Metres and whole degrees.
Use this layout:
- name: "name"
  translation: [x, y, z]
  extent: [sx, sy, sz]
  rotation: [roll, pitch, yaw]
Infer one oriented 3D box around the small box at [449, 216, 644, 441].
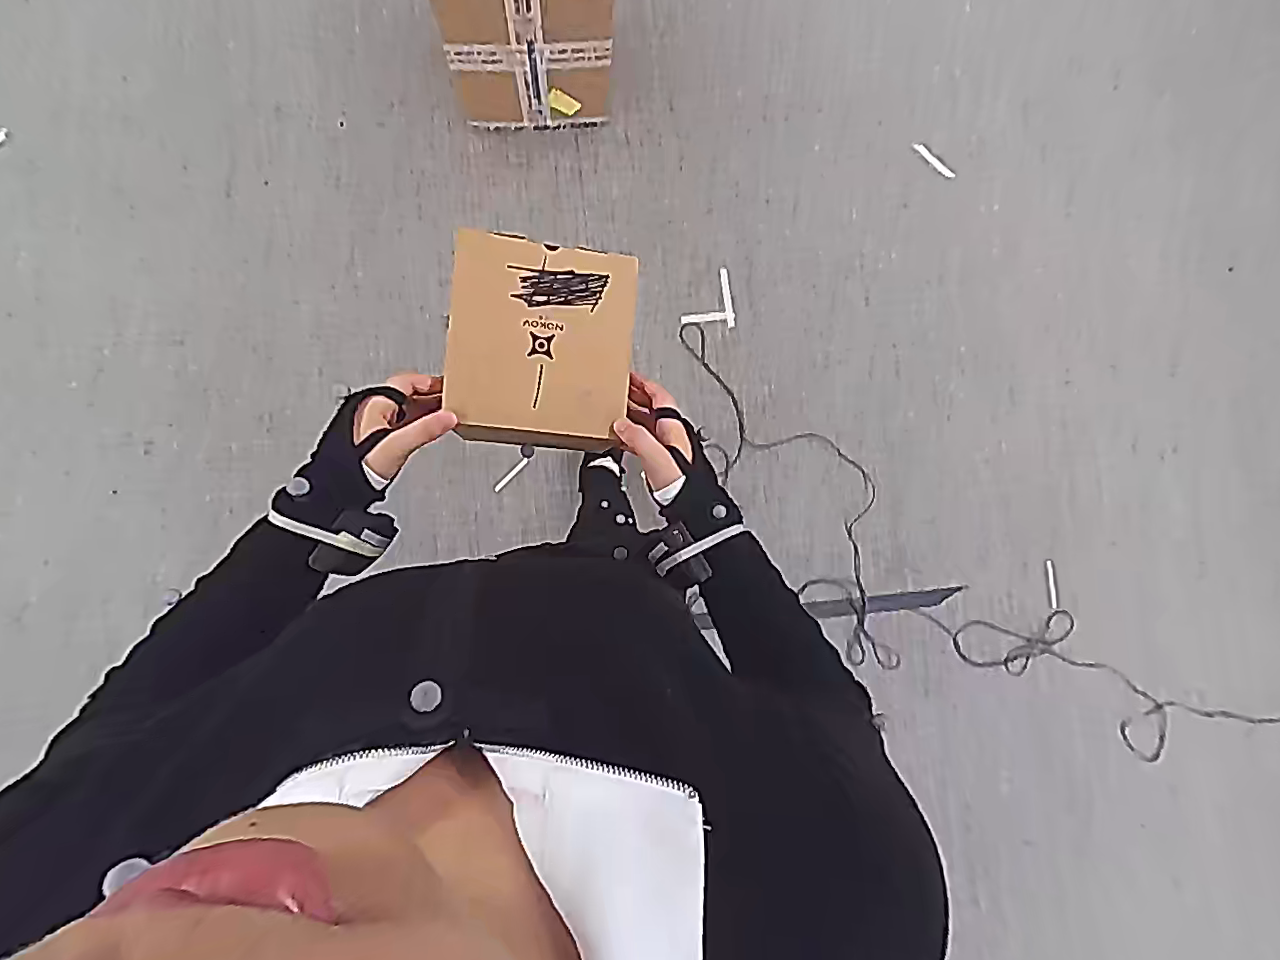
- name: "small box"
  translation: [-0.099, -0.142, 0.572]
  extent: [0.168, 0.176, 0.179]
  rotation: [5, 89, -11]
